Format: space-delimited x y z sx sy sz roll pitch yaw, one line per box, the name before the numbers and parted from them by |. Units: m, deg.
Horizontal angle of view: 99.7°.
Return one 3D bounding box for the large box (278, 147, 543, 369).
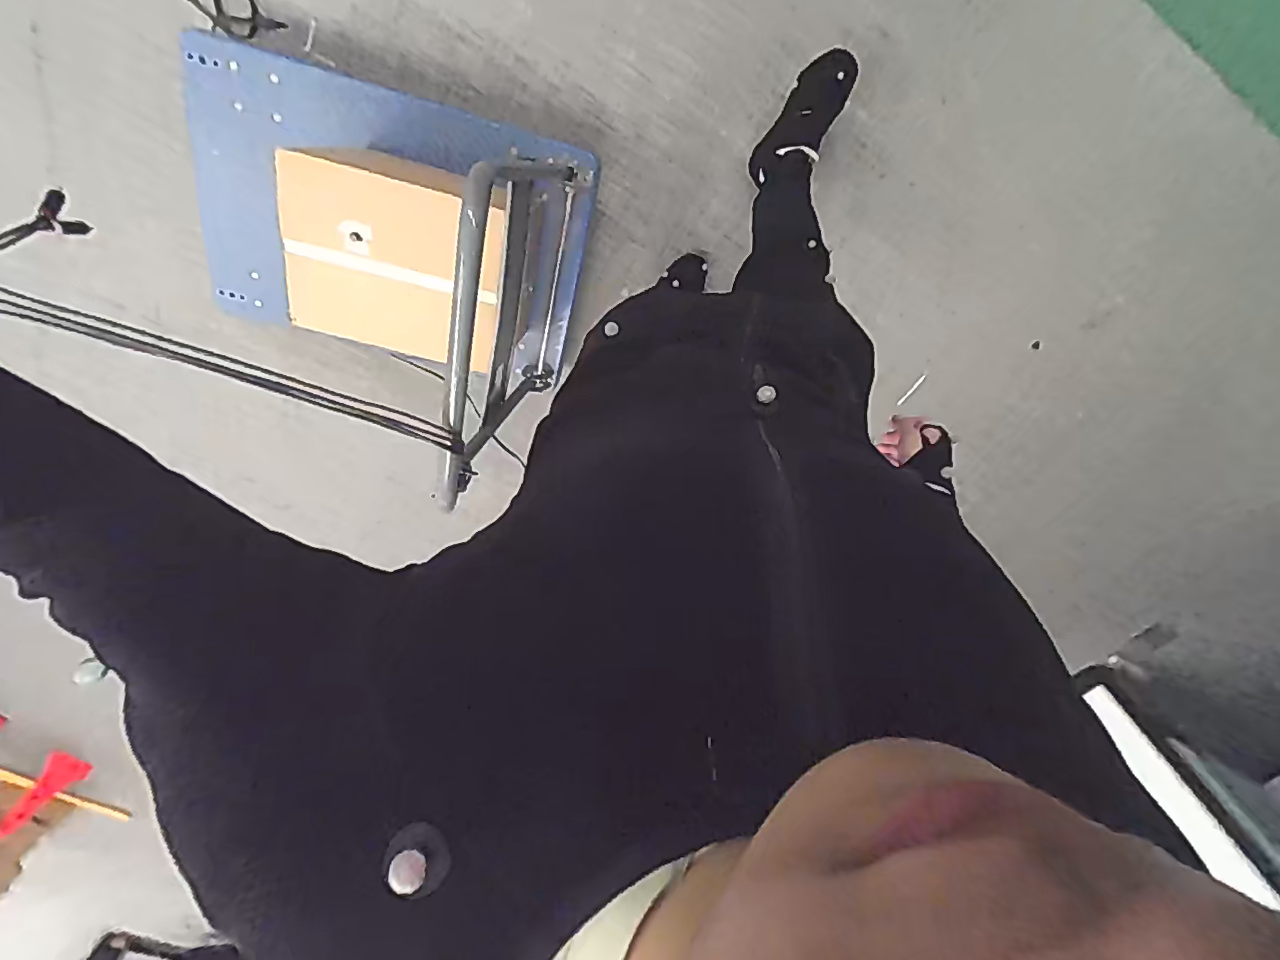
large box | -0.444 -0.469 1.128 0.408 0.320 0.320 14 121 -5
